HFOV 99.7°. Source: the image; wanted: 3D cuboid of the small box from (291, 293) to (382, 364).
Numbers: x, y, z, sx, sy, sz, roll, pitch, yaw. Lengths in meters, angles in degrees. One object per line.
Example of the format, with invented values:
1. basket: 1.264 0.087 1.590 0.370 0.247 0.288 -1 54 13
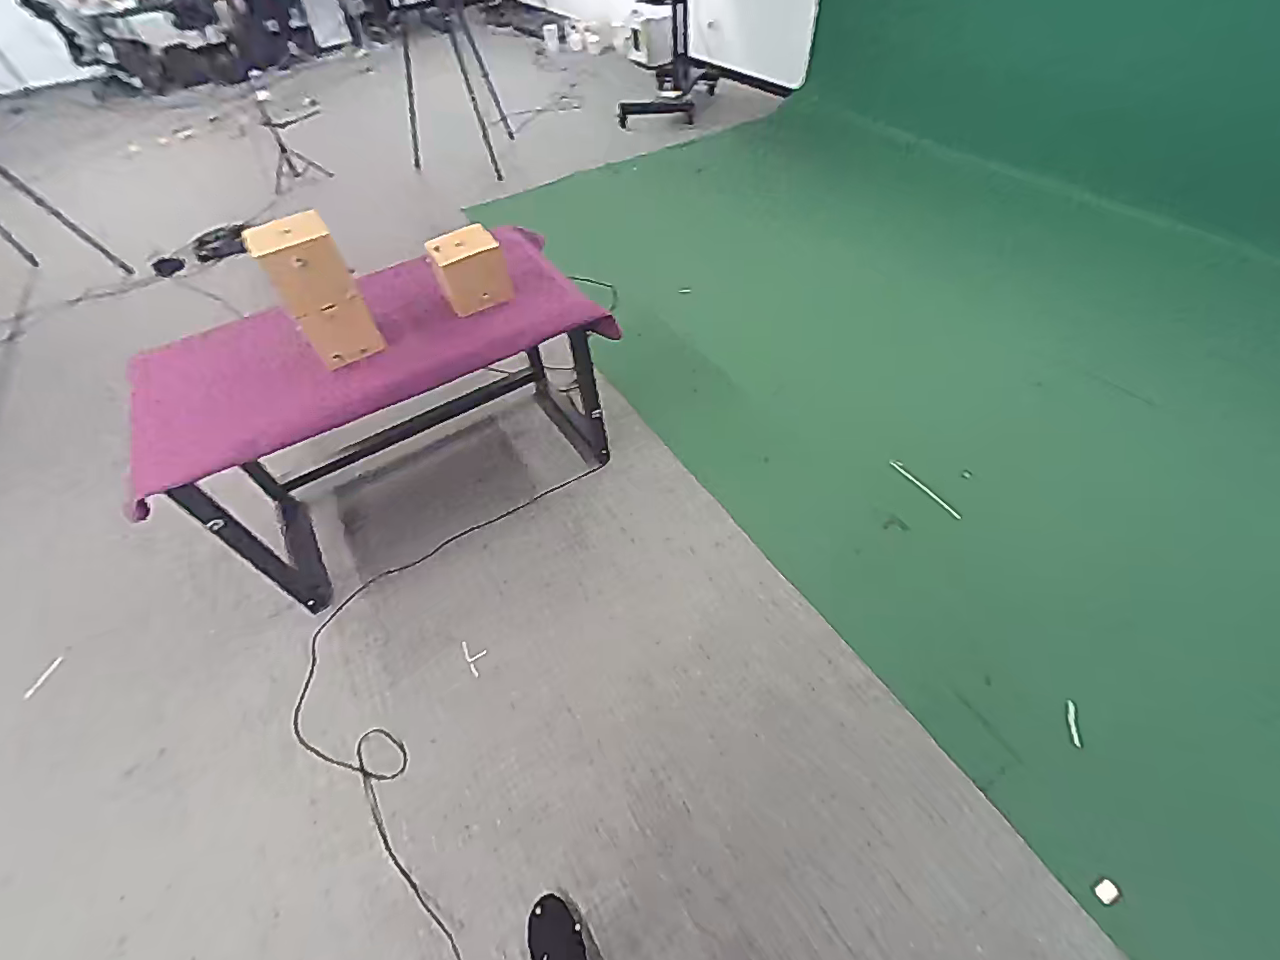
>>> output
1. small box: -0.830 -0.438 1.470 0.168 0.176 0.179 -29 53 -18

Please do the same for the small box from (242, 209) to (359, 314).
1. small box: -0.838 -0.539 1.342 0.179 0.176 0.168 -28 55 -18

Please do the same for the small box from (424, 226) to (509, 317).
1. small box: -0.500 -0.611 1.587 0.179 0.176 0.168 -27 53 -17
